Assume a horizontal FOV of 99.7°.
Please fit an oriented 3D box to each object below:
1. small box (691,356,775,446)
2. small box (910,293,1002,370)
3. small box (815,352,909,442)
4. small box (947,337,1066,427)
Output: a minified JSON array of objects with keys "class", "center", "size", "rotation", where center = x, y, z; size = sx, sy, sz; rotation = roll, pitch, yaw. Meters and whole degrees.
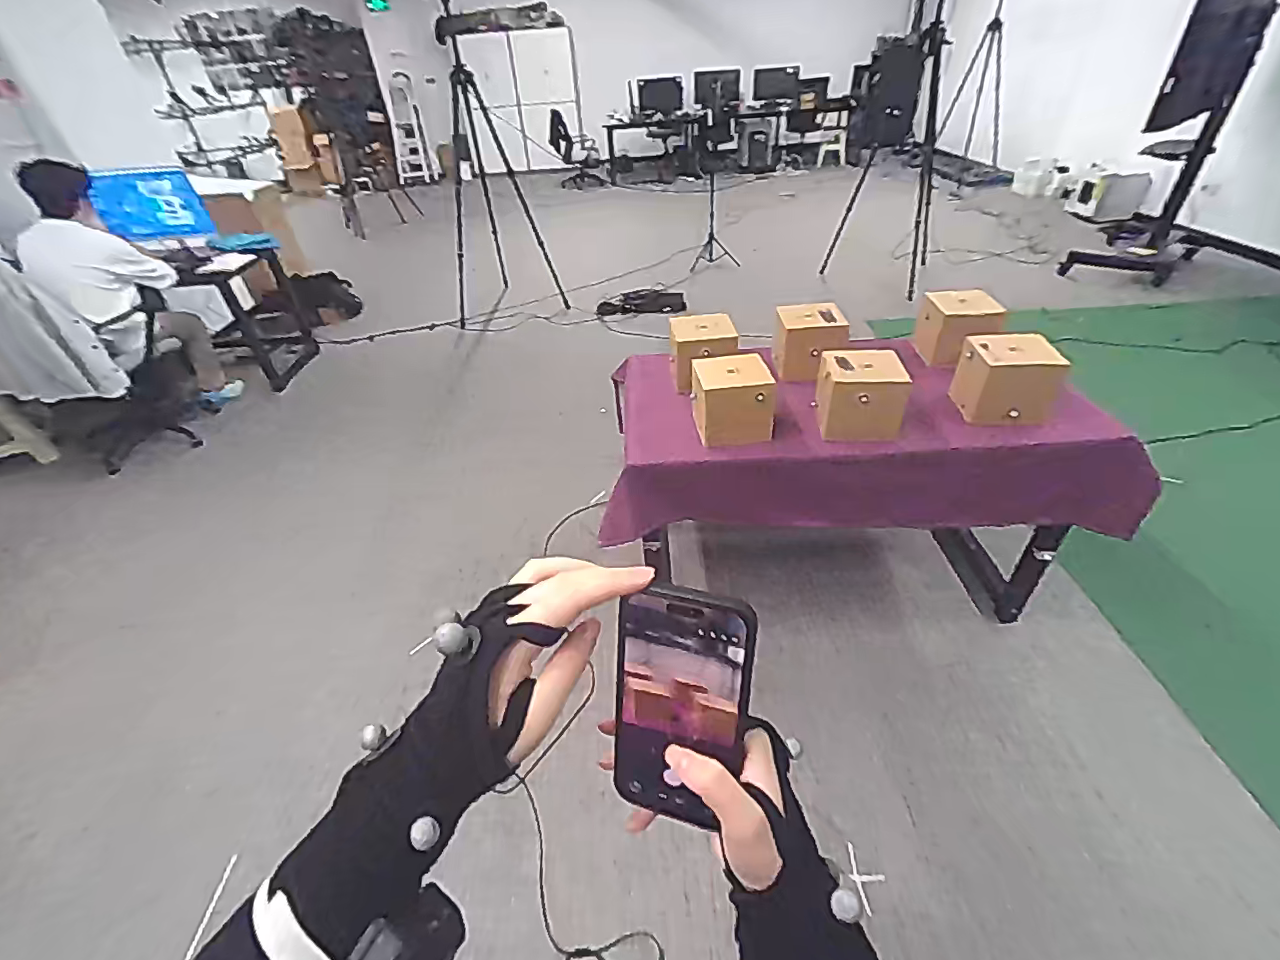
[{"class":"small box","center":[0.230,-0.199,1.376],"size":[0.179,0.176,0.168],"rotation":[-5,38,-3]},{"class":"small box","center":[0.927,-0.442,1.608],"size":[0.168,0.176,0.179],"rotation":[-1,39,5]},{"class":"small box","center":[0.542,-0.206,1.352],"size":[0.179,0.176,0.168],"rotation":[2,39,6]},{"class":"small box","center":[0.911,-0.246,1.364],"size":[0.179,0.176,0.168],"rotation":[2,38,8]}]
